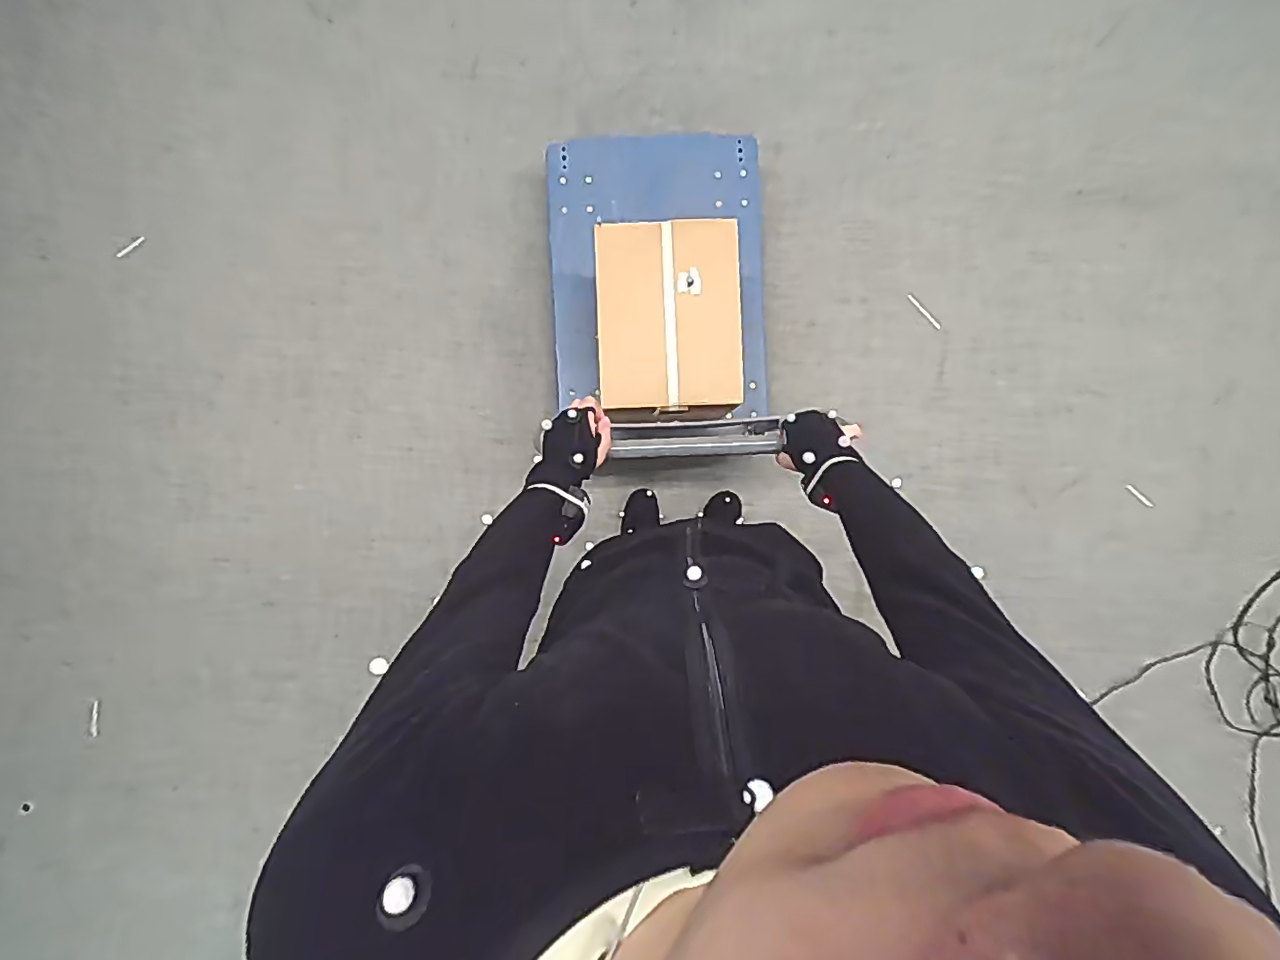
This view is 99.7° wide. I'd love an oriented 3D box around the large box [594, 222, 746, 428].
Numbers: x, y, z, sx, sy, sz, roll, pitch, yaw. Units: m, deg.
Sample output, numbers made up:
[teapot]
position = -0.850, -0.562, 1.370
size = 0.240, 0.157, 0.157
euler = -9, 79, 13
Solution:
[large box]
position = 0.065, -0.349, 1.313
size = 0.320, 0.320, 0.408
euler = -2, 89, -1
